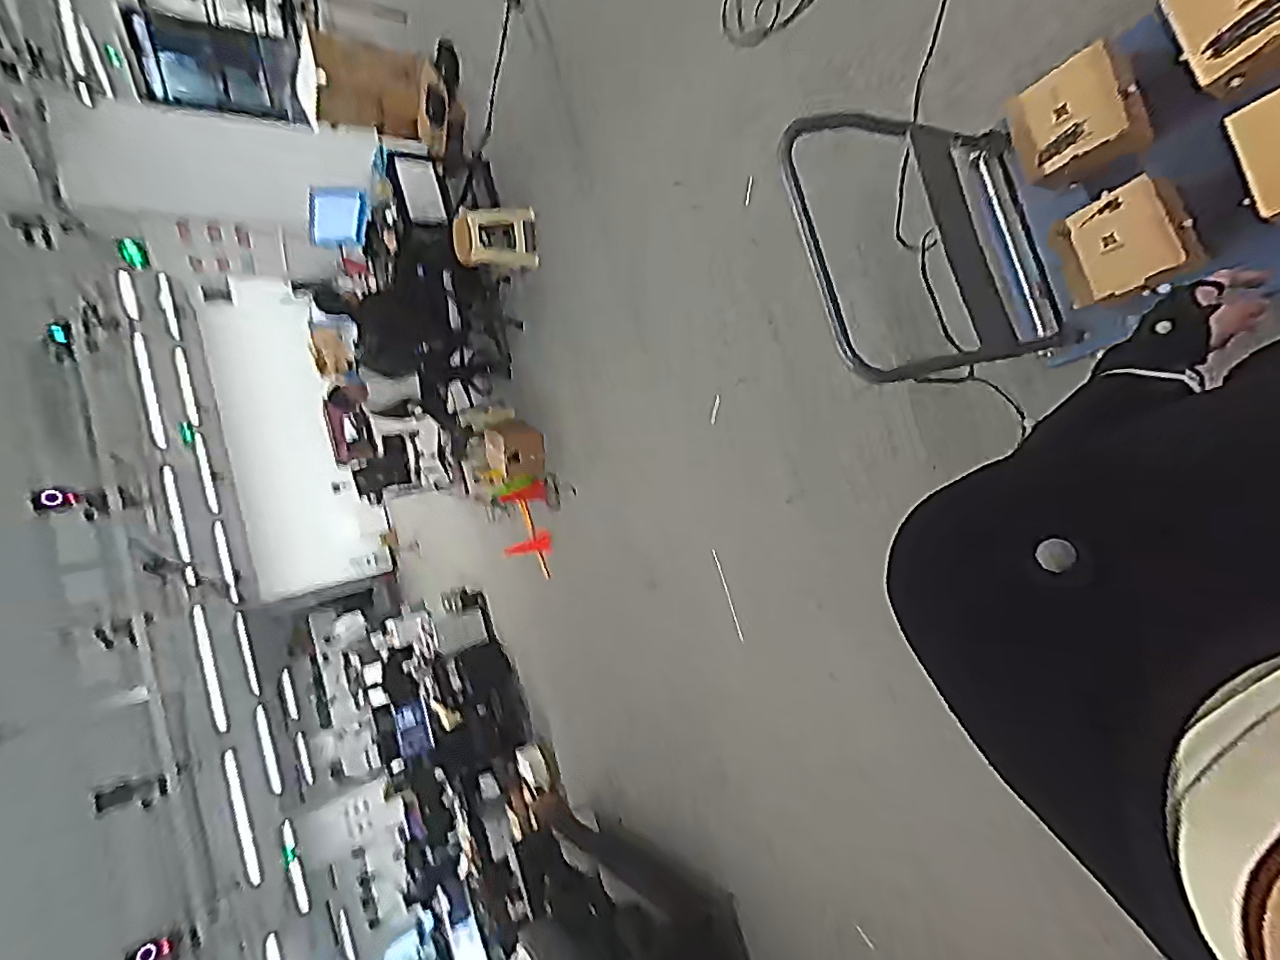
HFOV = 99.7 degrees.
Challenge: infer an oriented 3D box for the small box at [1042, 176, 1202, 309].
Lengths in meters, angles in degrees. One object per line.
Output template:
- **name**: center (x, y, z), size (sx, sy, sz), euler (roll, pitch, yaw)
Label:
- **small box**: center (0.936, -0.454, 1.049), size (0.168, 0.176, 0.179), euler (-27, 79, 57)

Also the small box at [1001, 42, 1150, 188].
- **small box**: center (0.863, -0.705, 1.070), size (0.168, 0.176, 0.179), euler (-19, 85, 57)
